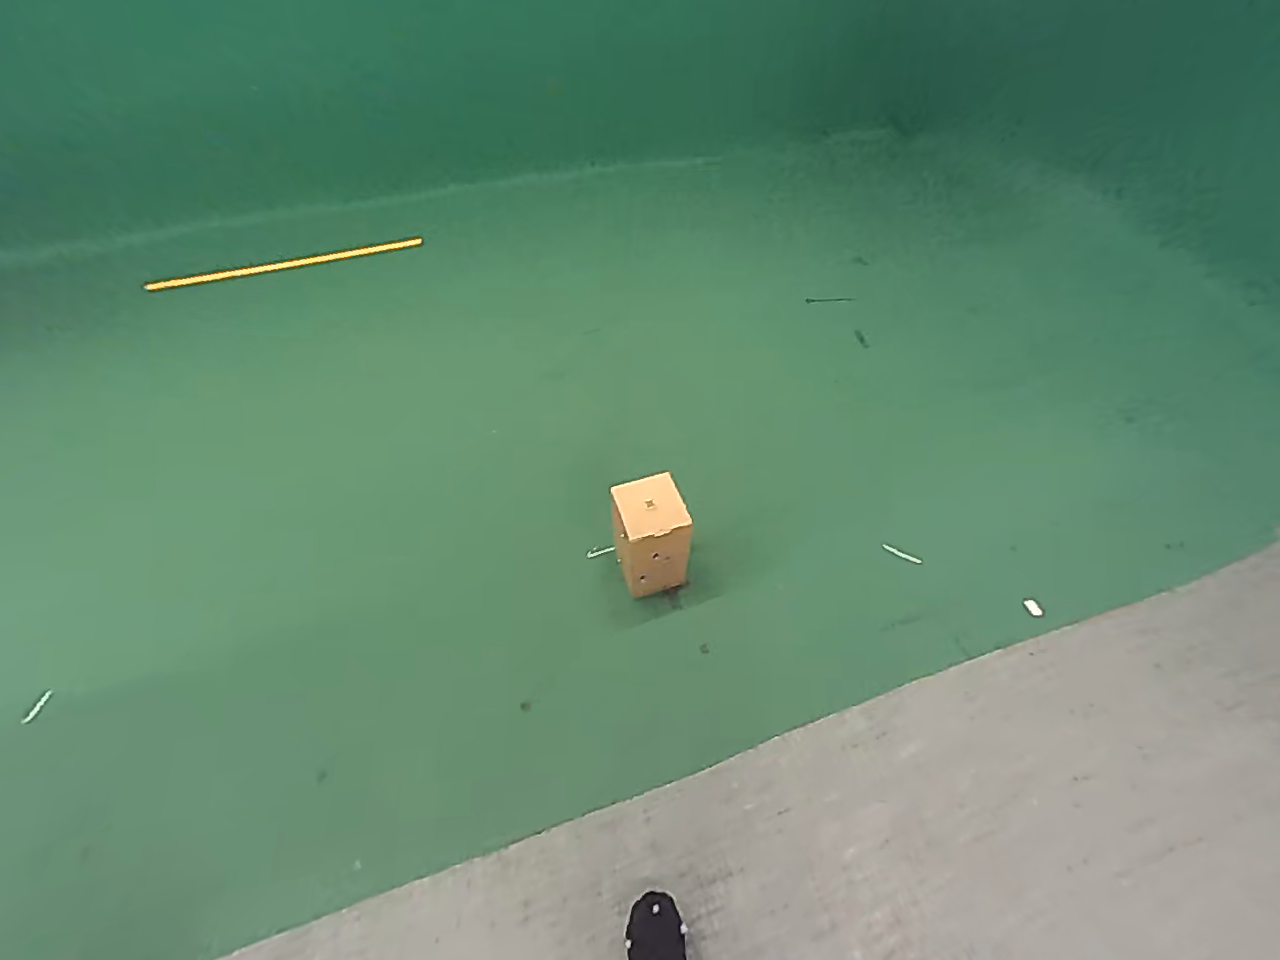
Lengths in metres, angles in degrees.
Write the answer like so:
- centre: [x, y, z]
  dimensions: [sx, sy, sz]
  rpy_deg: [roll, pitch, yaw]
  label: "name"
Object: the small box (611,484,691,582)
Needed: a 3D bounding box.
- centre: [0.021, 0.143, 1.437]
  dimensions: [0.168, 0.176, 0.179]
  rpy_deg: [-14, 53, -13]
  label: "small box"
